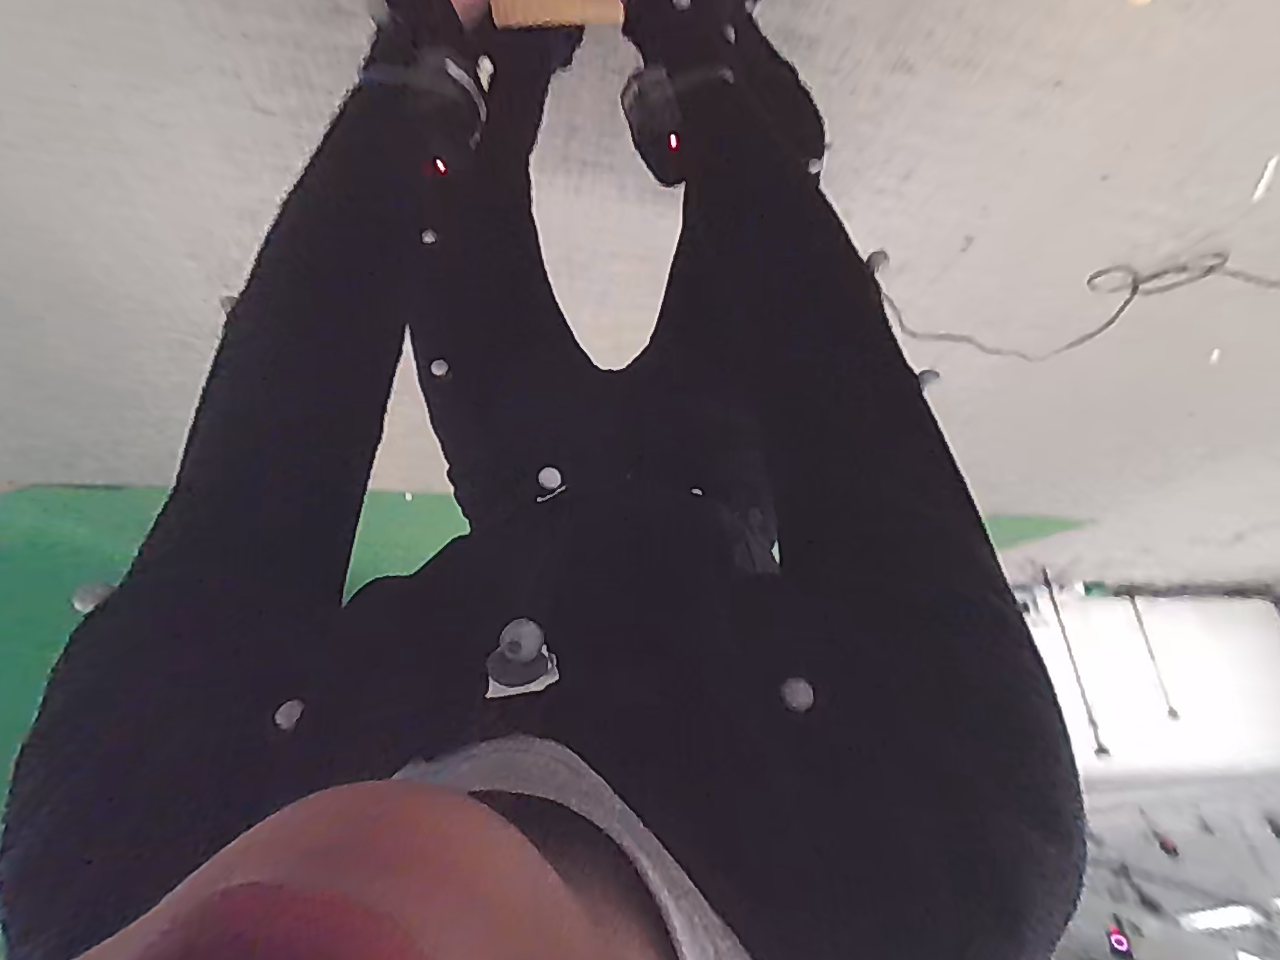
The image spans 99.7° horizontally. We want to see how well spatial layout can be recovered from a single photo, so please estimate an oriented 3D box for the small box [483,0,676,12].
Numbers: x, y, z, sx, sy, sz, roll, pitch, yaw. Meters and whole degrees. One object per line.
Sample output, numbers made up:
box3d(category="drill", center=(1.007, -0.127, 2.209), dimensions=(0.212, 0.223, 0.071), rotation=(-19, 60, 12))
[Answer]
box3d(category="small box", center=(-0.057, -0.514, 0.433), dimensions=(0.168, 0.176, 0.179), rotation=(-4, 146, -3))
